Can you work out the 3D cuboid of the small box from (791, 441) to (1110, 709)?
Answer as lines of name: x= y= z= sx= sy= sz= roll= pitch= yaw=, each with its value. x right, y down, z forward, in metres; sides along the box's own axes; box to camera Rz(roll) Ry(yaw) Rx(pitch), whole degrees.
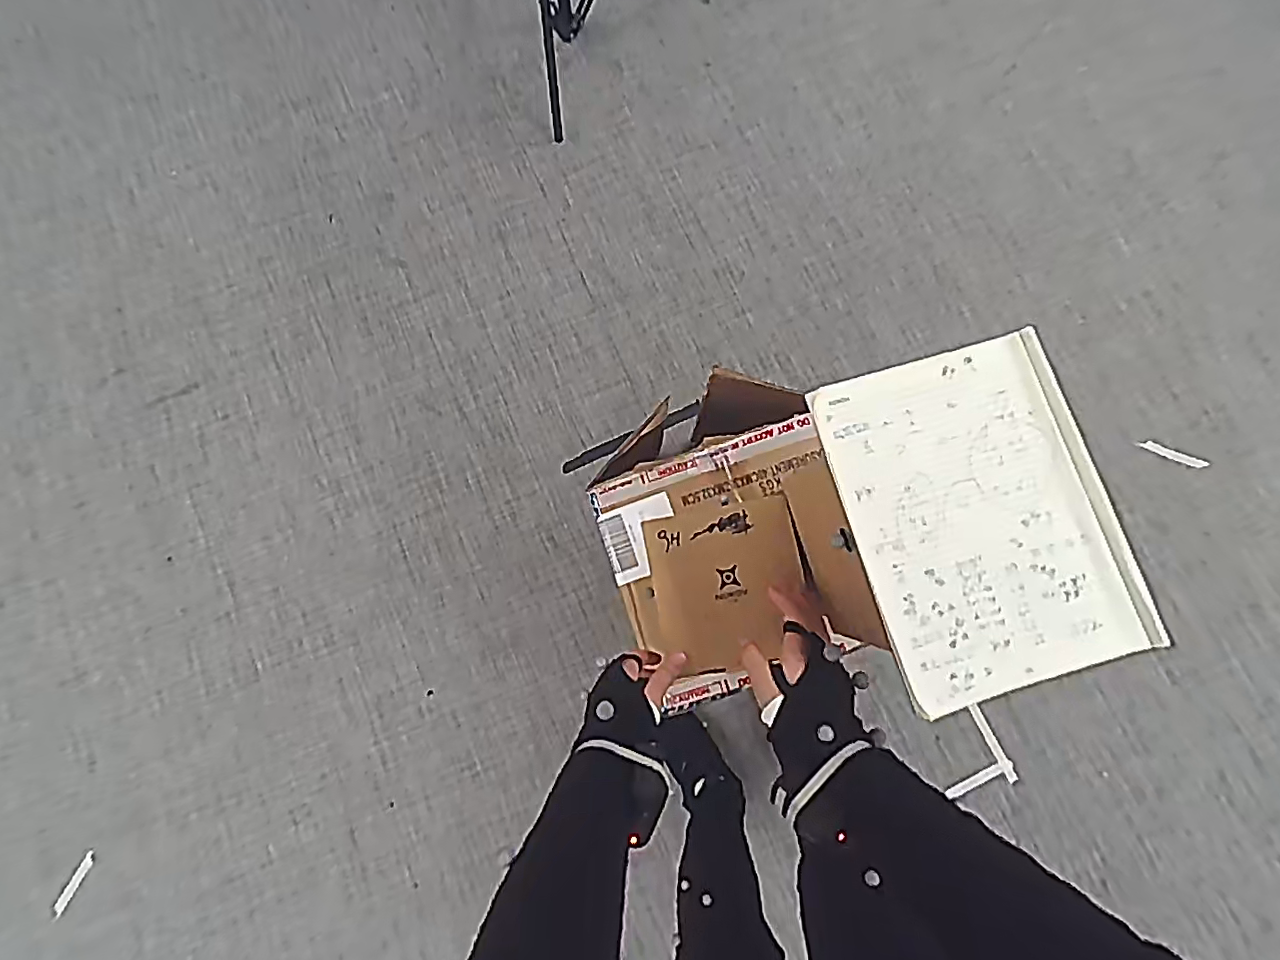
small box: x=0.260 y=0.083 z=0.503 sx=0.168 sy=0.176 sz=0.179 roll=-16 pitch=82 yaw=-4
